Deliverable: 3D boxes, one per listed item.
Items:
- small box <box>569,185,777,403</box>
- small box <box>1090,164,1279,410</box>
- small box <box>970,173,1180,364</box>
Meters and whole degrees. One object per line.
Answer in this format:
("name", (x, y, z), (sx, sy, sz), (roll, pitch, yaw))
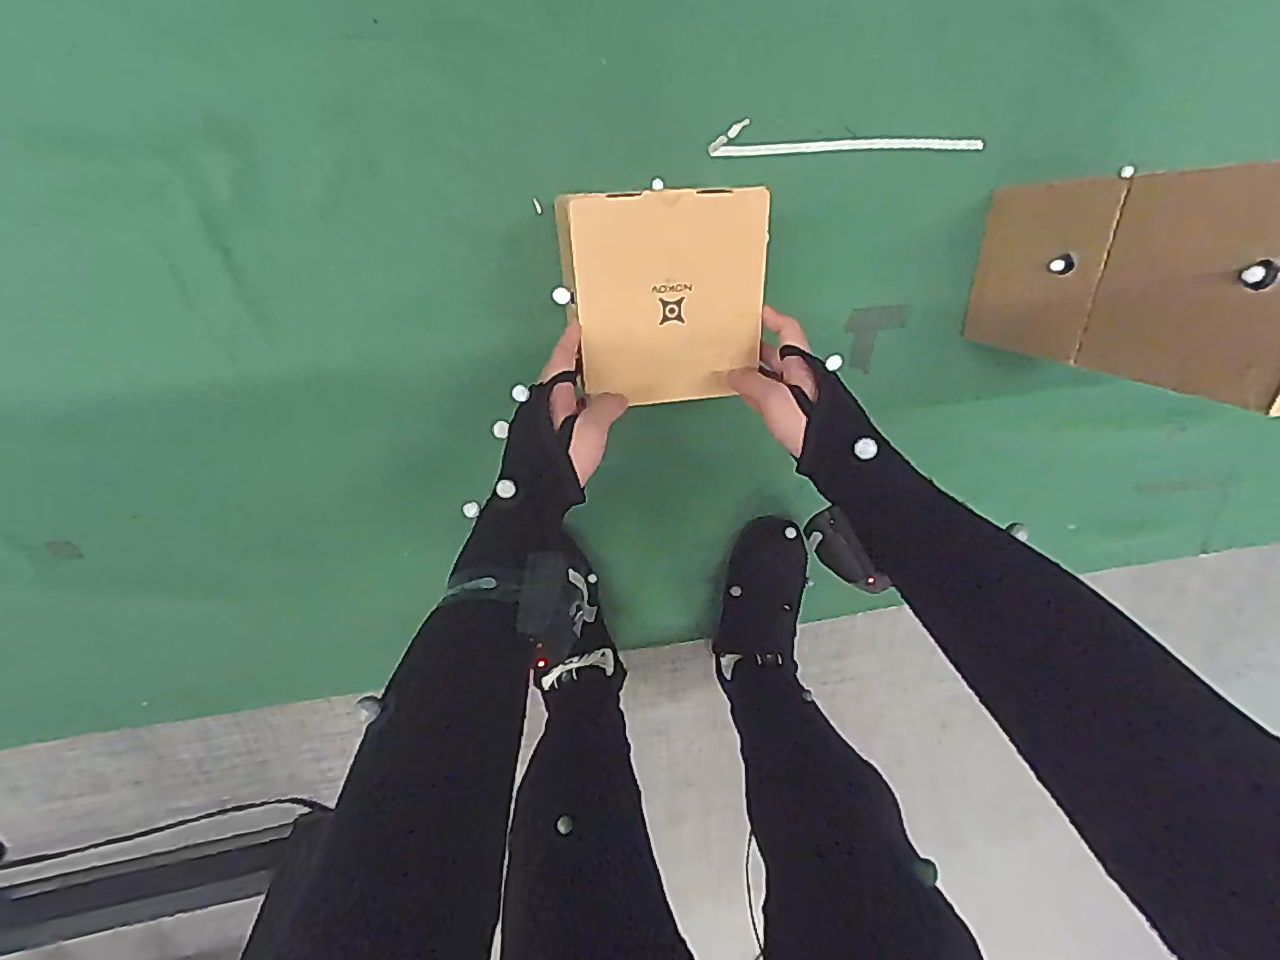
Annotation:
("small box", (0.021, -0.189, 0.537), (0.168, 0.176, 0.179), (-7, 116, -9))
("small box", (0.545, -0.171, 0.463), (0.168, 0.176, 0.179), (-6, 115, -8))
("small box", (0.514, -0.237, 0.609), (0.168, 0.176, 0.179), (-5, 115, -9))
